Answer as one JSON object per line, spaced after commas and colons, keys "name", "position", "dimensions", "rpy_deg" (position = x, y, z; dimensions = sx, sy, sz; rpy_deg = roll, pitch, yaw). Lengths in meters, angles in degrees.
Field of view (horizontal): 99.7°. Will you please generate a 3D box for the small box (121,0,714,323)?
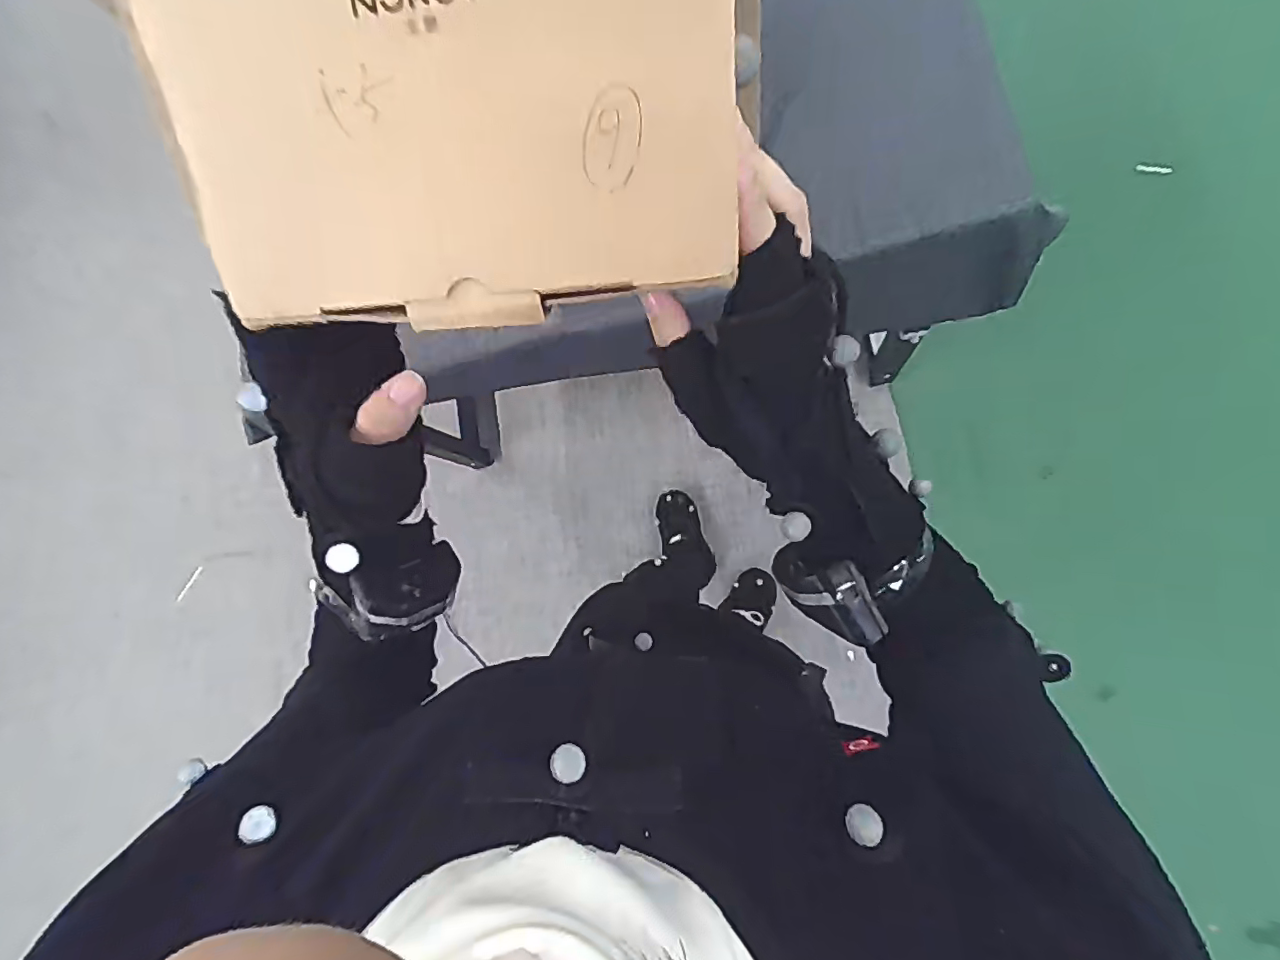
{"name": "small box", "position": [-0.055, -0.168, 0.215], "dimensions": [0.168, 0.176, 0.179], "rpy_deg": [-2, 113, 7]}
